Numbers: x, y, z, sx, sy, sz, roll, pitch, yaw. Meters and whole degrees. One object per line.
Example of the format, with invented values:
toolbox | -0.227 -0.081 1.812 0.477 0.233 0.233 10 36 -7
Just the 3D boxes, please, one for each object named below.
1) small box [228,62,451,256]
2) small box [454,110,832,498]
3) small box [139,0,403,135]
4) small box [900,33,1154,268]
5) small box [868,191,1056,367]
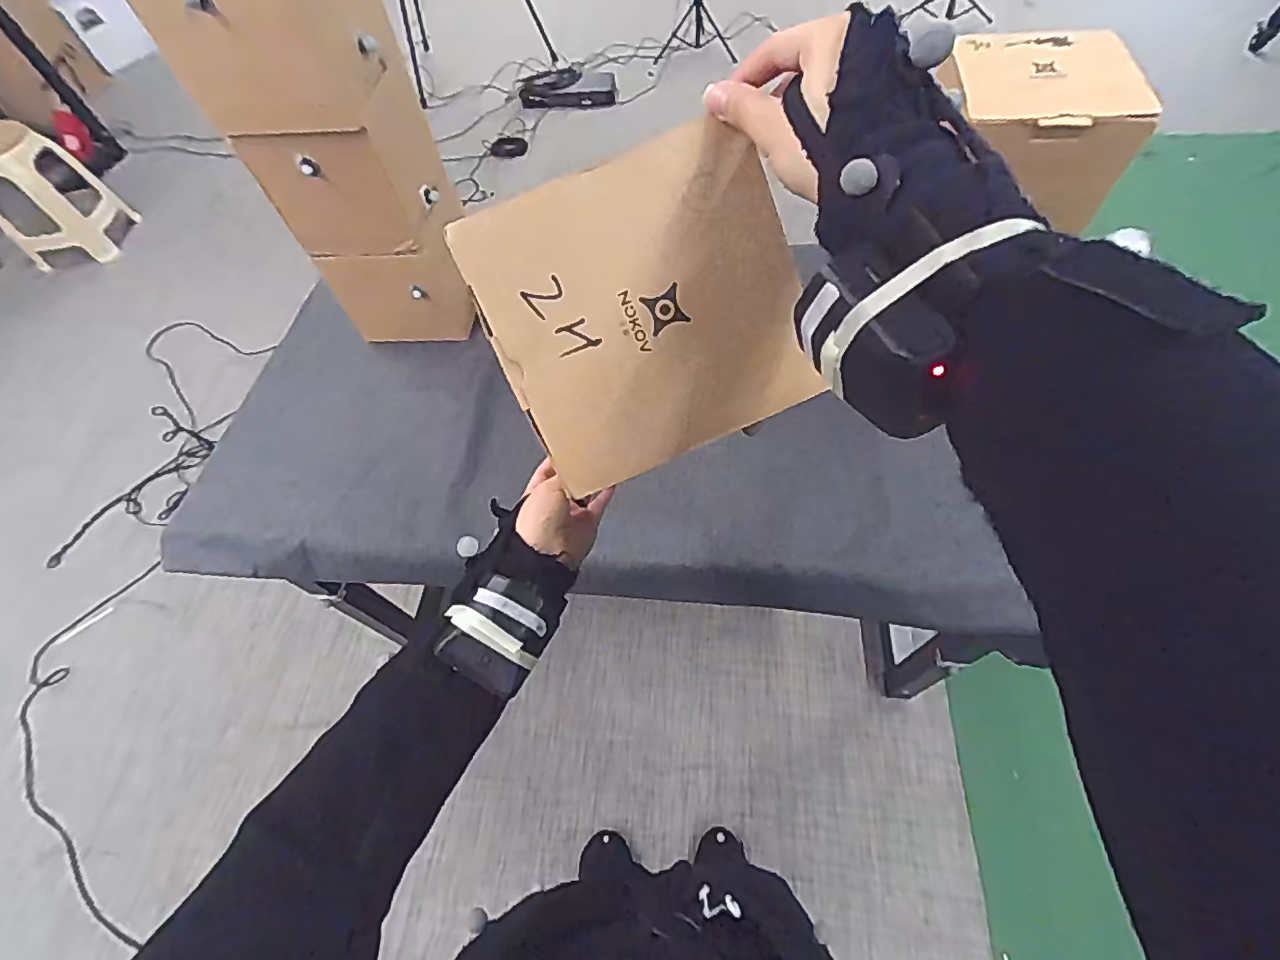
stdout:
small box | -0.381 -0.421 0.724 0.179 0.176 0.168 0 61 4
small box | 0.000 -0.111 0.383 0.179 0.176 0.168 -23 103 0
small box | -0.390 -0.496 0.578 0.179 0.176 0.168 2 61 5
small box | 0.410 -0.363 0.613 0.168 0.176 0.179 5 61 9
small box | 0.428 -0.284 0.756 0.168 0.176 0.179 5 60 9
